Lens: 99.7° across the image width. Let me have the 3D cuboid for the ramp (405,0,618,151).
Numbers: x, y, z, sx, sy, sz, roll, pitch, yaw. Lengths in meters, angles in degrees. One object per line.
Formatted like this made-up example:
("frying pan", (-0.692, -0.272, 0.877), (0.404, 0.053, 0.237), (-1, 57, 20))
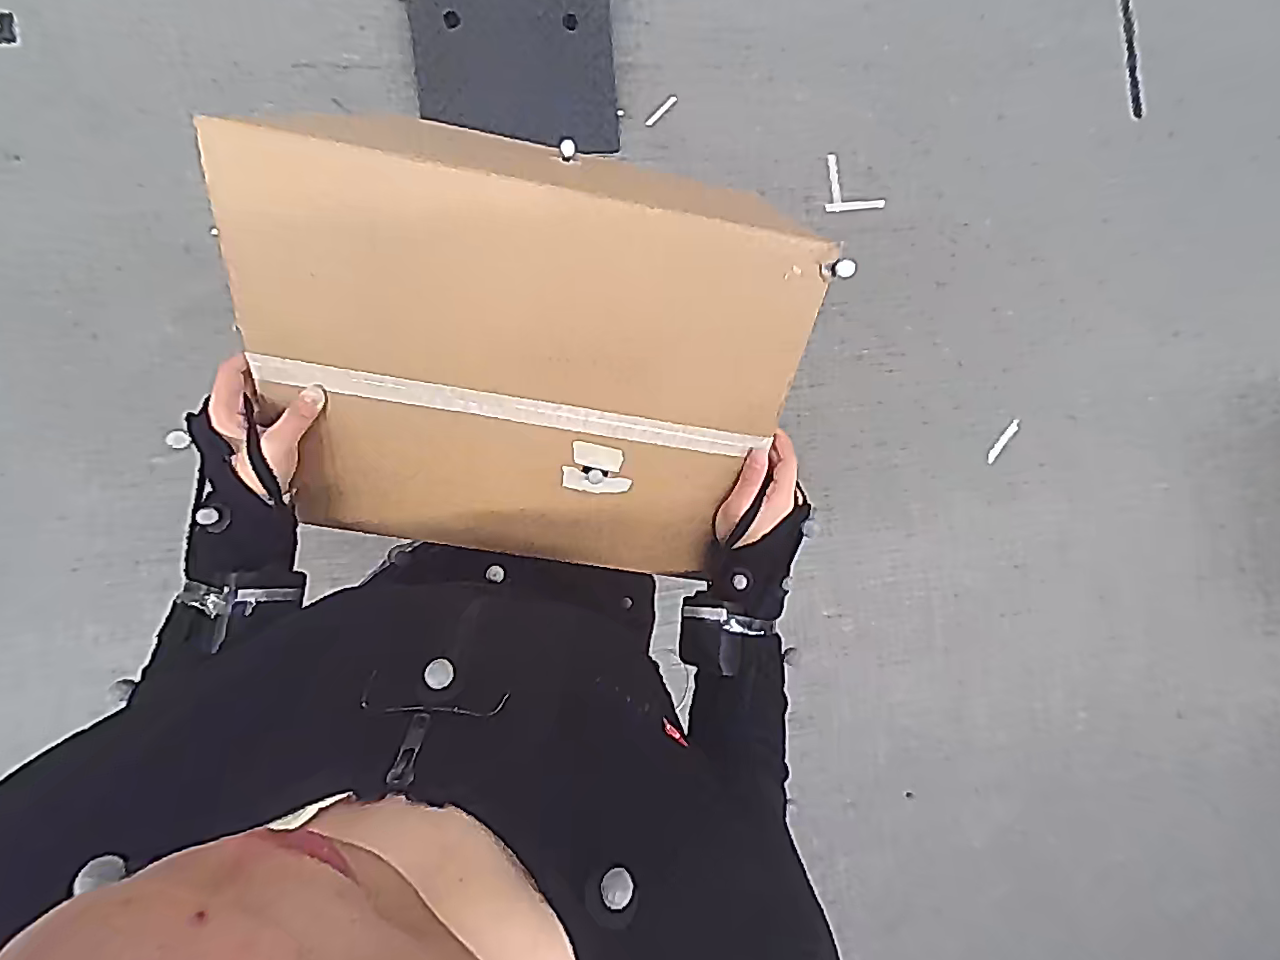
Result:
("ramp", (-0.329, -1.329, 1.283), (0.509, 0.206, 0.991), (-7, 92, -9))

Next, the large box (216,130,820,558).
("large box", (-0.096, -0.151, 0.559), (0.408, 0.320, 0.320), (7, 125, -6))
